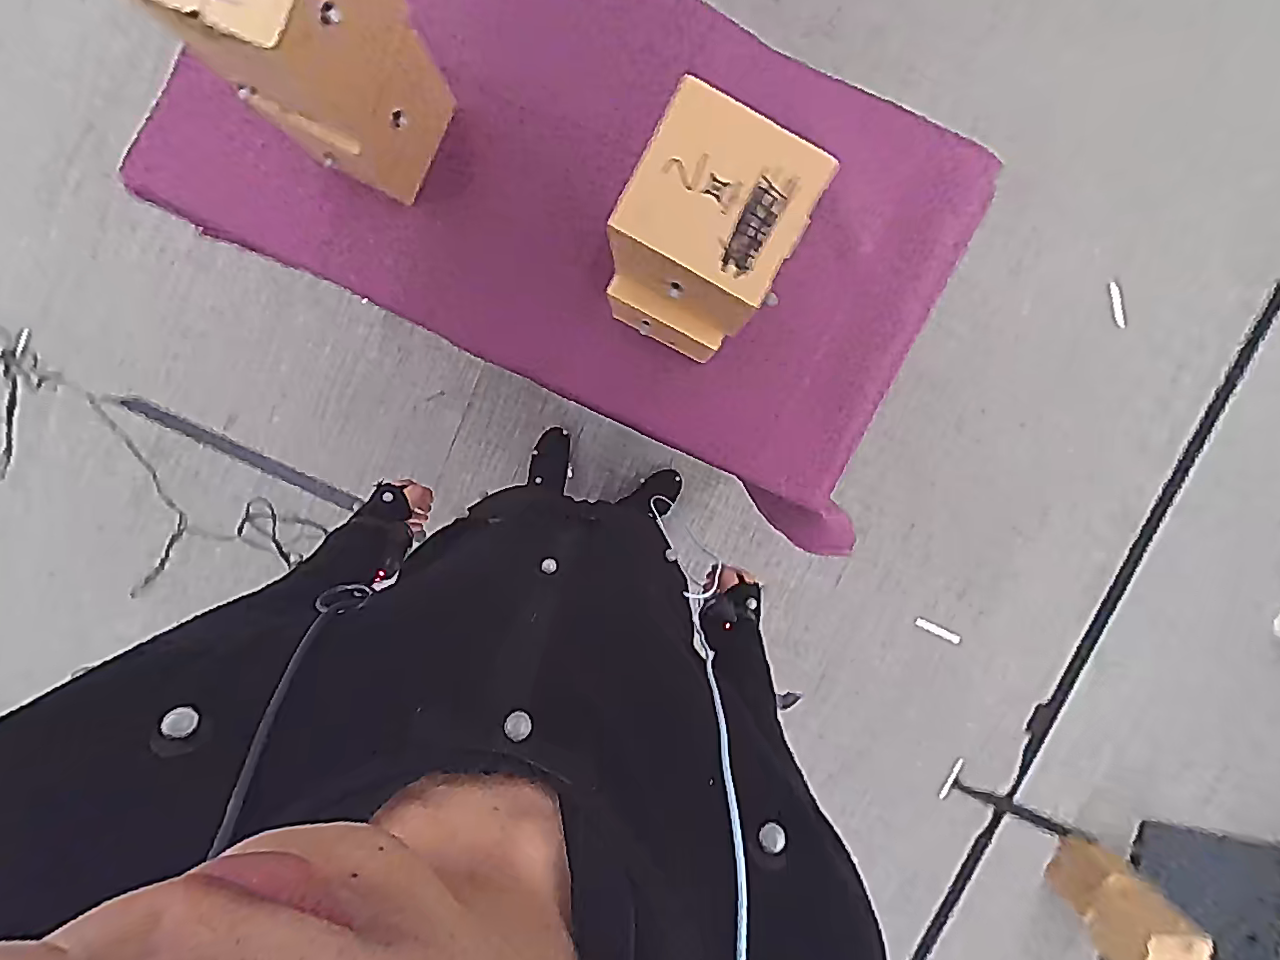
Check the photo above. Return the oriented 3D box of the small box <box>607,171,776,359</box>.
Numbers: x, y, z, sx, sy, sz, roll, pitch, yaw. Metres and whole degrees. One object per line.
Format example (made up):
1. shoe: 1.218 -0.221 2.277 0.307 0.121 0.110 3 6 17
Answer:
1. small box: 0.069 -0.293 0.786 0.168 0.176 0.179 28 94 -3

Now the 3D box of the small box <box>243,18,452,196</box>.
1. small box: -0.390 -0.538 0.755 0.168 0.176 0.179 28 95 -4

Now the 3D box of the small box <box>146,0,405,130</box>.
1. small box: -0.388 -0.533 0.591 0.168 0.176 0.179 24 95 -3
